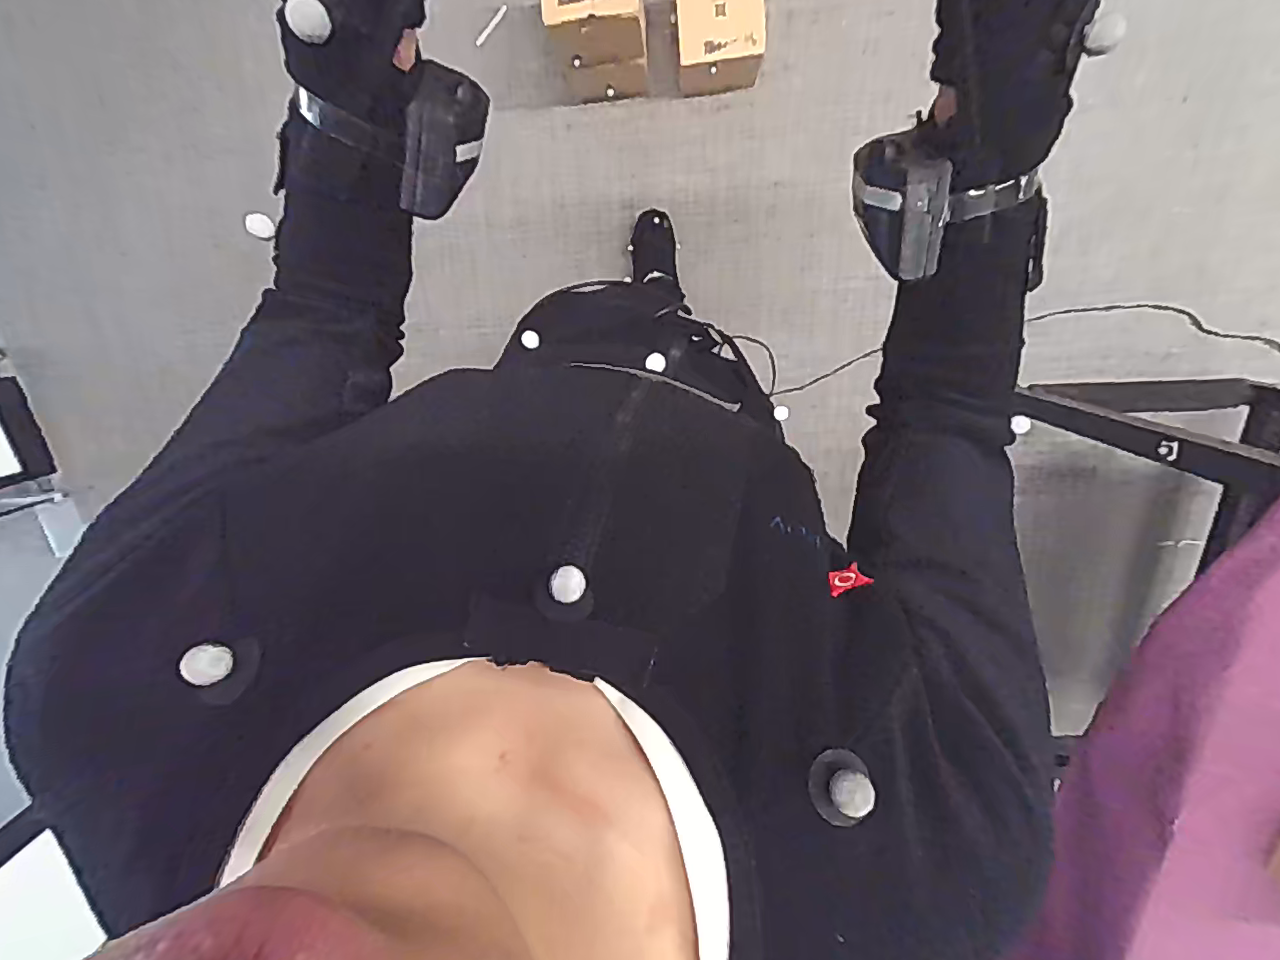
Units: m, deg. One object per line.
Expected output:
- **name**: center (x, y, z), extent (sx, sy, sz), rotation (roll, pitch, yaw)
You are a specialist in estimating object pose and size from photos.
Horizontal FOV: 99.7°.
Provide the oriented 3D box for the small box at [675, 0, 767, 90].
- **small box**: center (0.157, -0.918, 1.077), extent (0.168, 0.176, 0.179), rotation (-4, 108, 6)
